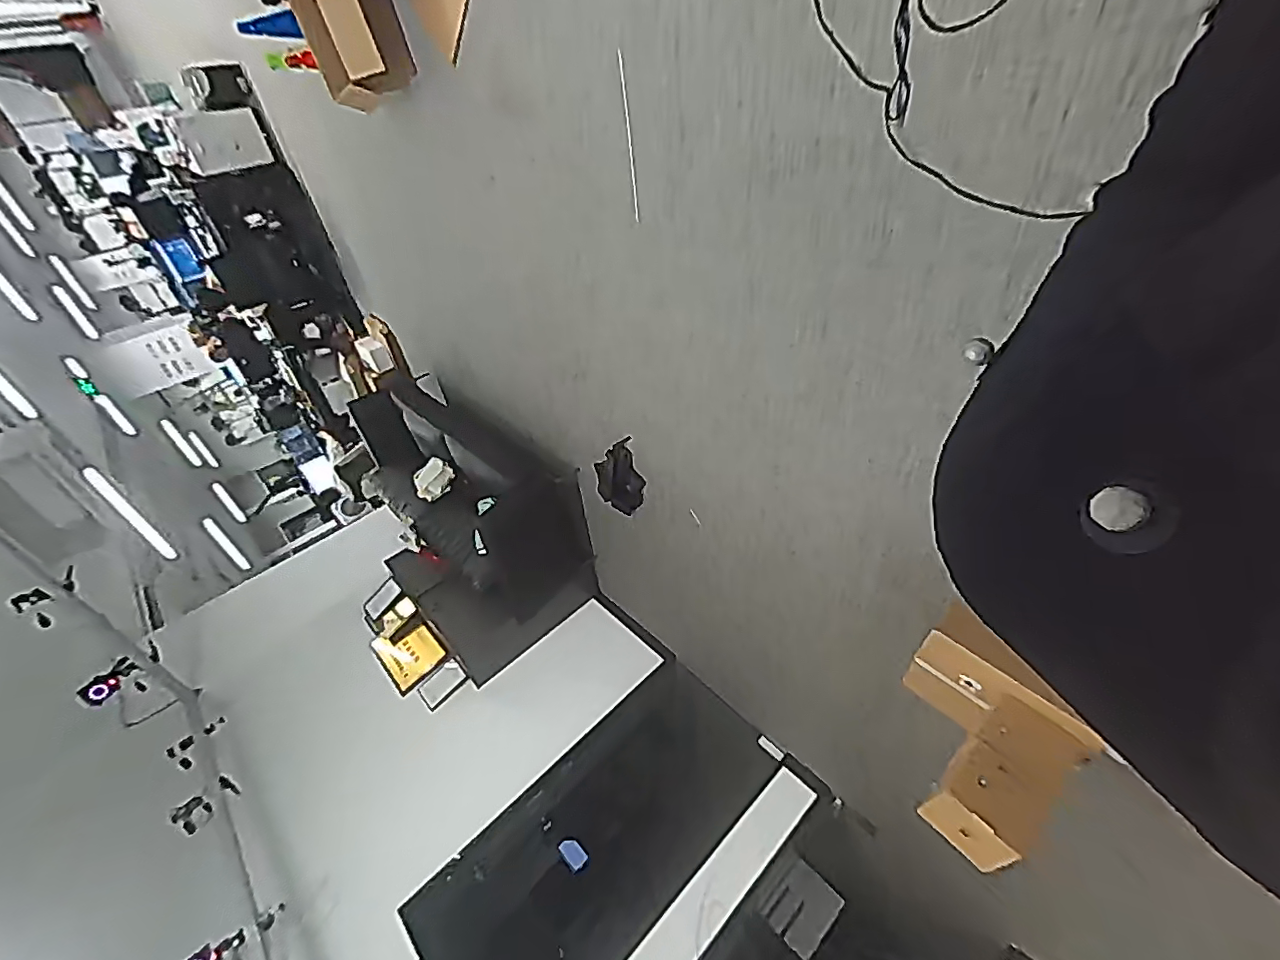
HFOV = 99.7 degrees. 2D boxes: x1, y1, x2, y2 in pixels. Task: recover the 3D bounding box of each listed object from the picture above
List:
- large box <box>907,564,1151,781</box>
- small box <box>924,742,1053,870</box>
[{"bbox_3d":[1.037,0.510,1.480,0.408,0.320,0.320,36,146,35],"label":"large box"},{"bbox_3d":[0.793,0.735,1.230,0.168,0.176,0.179,39,149,33],"label":"small box"}]
